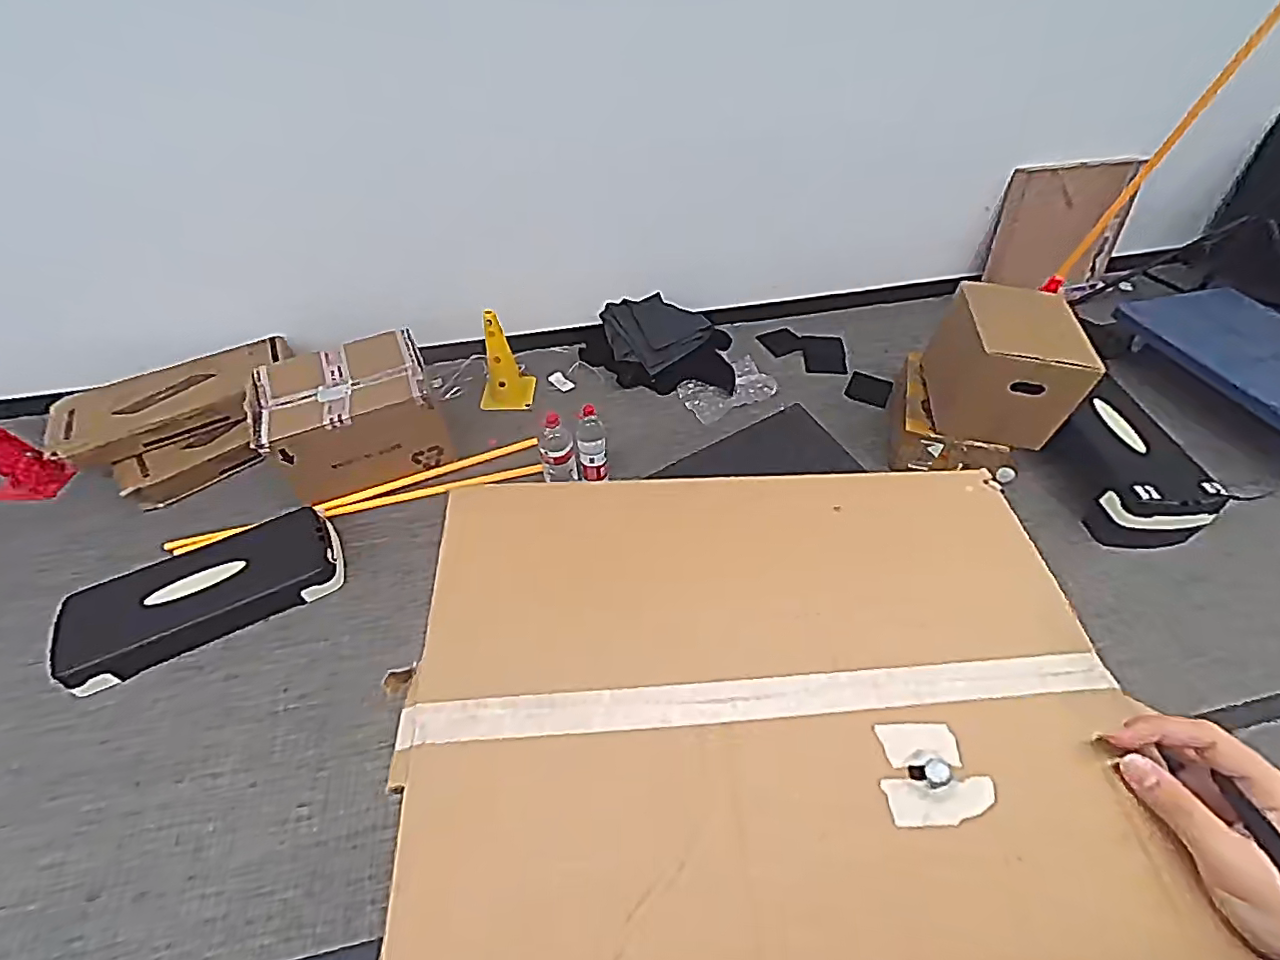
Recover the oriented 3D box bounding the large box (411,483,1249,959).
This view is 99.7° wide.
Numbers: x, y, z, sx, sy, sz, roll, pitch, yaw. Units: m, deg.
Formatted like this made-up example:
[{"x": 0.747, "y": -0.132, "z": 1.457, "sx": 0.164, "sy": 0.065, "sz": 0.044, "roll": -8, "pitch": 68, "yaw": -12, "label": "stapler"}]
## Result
[{"x": 0.072, "y": 0.219, "z": 0.436, "sx": 0.408, "sy": 0.320, "sz": 0.320, "roll": -1, "pitch": 54, "yaw": -7, "label": "large box"}]
